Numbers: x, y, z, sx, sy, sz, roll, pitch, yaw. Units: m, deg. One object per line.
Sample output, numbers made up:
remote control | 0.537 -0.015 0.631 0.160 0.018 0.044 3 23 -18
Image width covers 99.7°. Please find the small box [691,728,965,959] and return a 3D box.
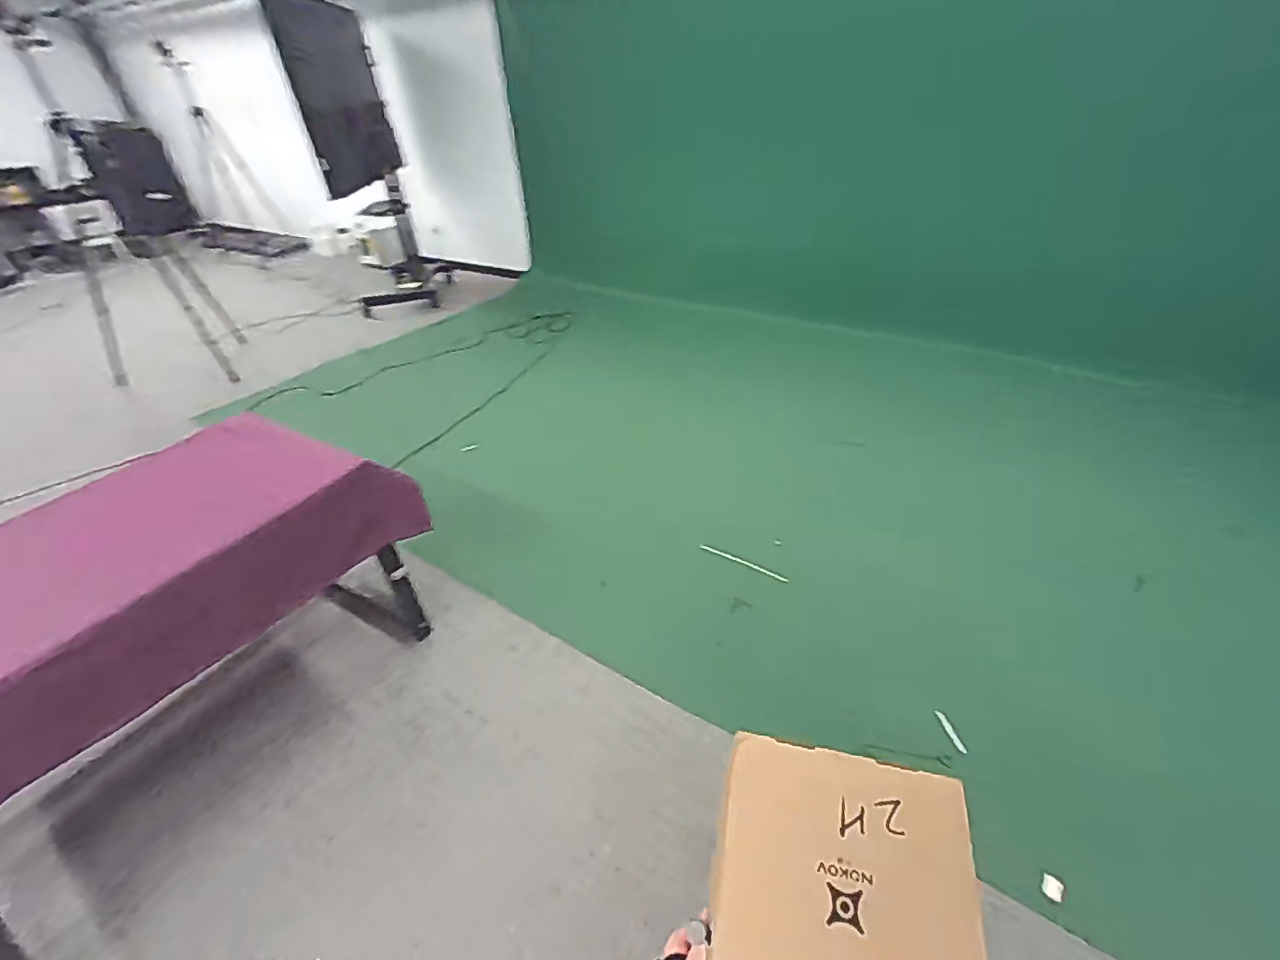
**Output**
small box | 0.131 0.323 0.420 0.168 0.176 0.179 7 50 11
